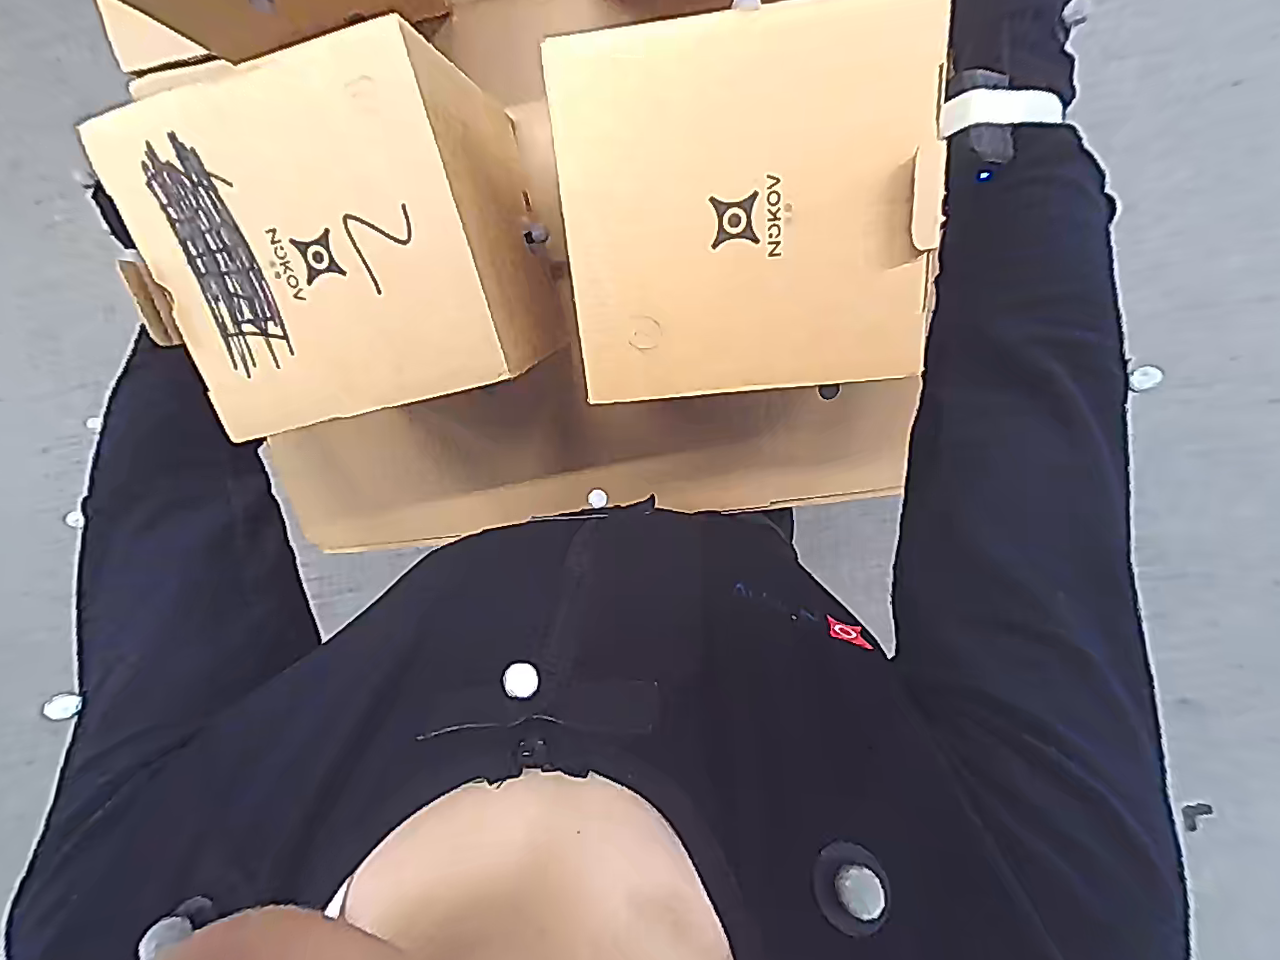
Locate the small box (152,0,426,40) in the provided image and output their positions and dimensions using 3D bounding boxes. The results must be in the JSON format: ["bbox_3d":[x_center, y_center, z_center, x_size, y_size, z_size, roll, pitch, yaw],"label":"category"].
[{"bbox_3d":[-0.233,-0.373,0.282,0.168,0.176,0.179,-8,106,7],"label":"small box"}]
